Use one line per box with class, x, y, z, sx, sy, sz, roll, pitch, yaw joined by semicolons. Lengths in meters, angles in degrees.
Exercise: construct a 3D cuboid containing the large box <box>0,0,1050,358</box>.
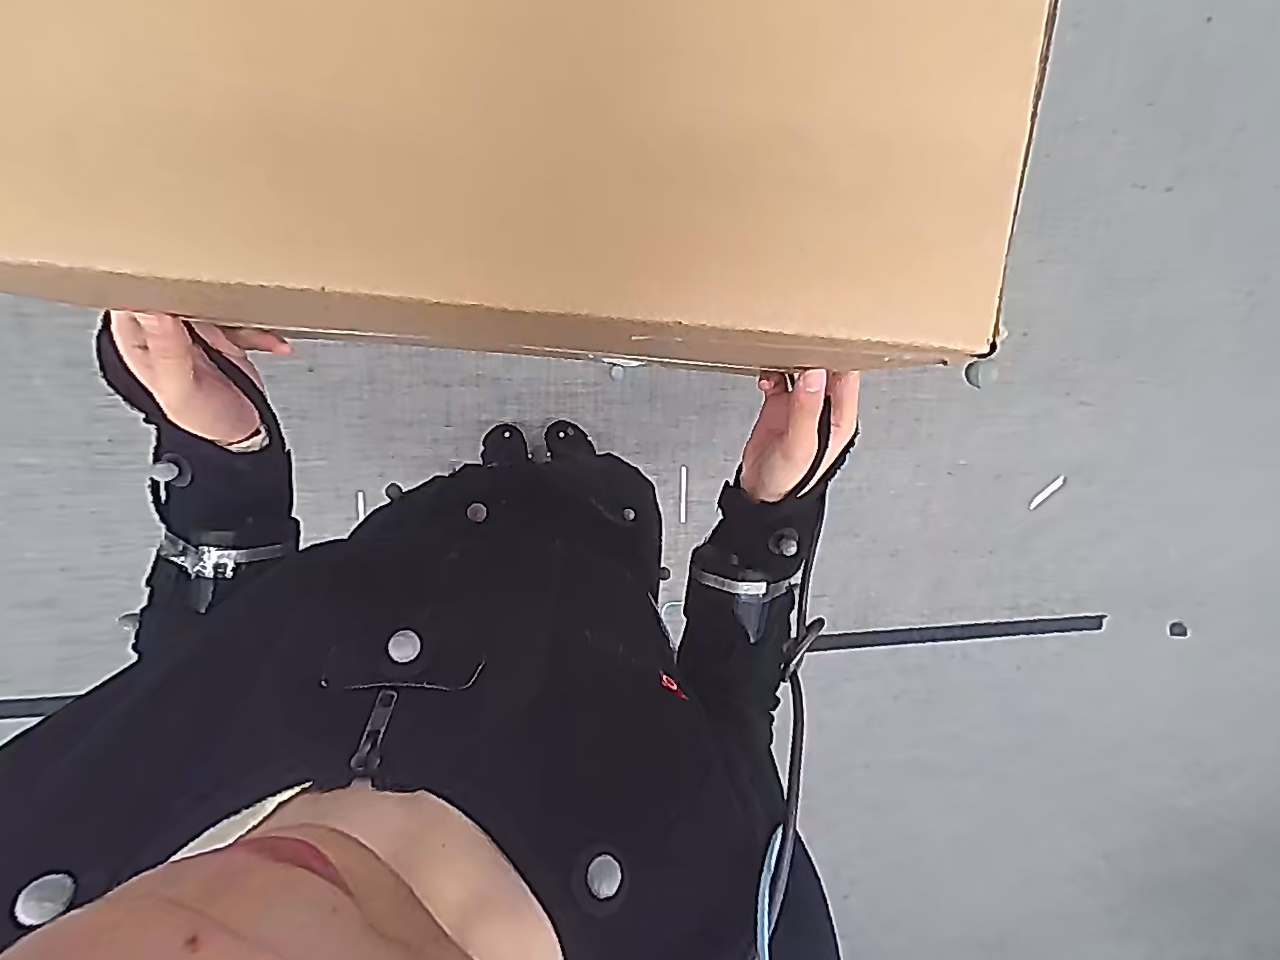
large box;-0.068;-0.246;0.303;0.408;0.320;0.320;3;101;-6
